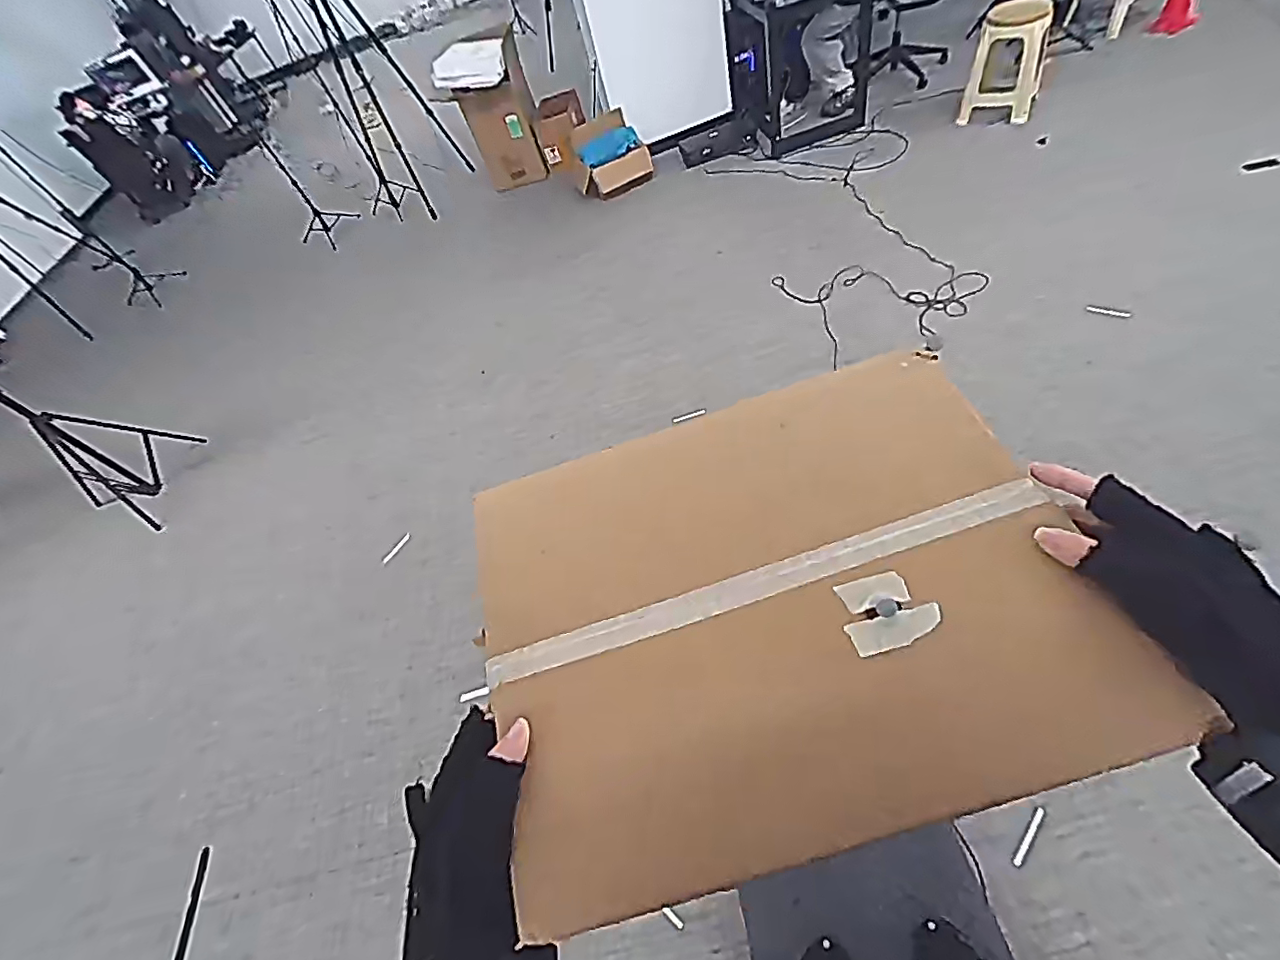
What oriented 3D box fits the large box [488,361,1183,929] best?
[{"bbox_3d":[0.118,0.157,0.519,0.408,0.320,0.320,-19,57,2],"label":"large box"}]
